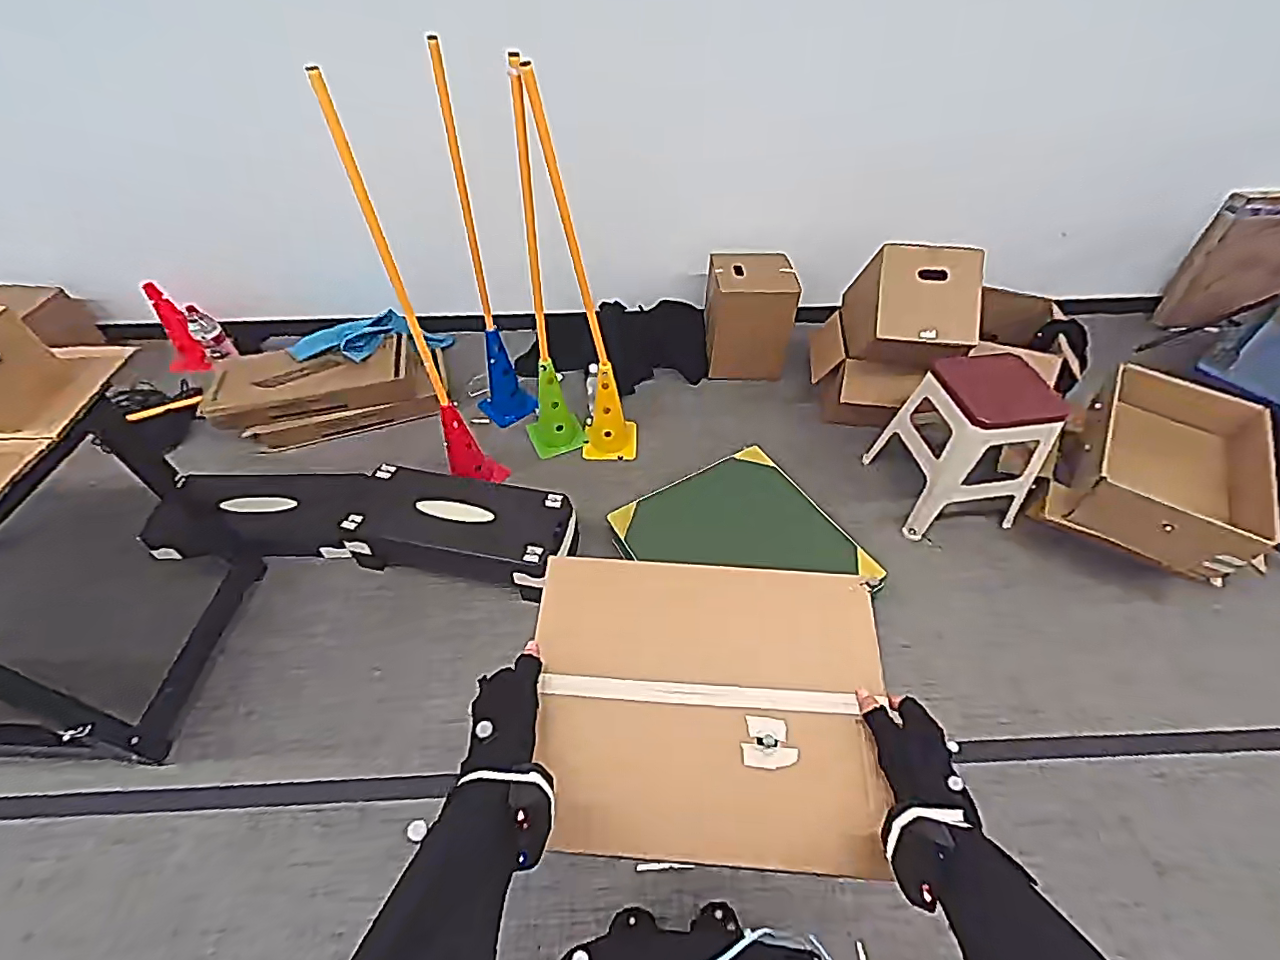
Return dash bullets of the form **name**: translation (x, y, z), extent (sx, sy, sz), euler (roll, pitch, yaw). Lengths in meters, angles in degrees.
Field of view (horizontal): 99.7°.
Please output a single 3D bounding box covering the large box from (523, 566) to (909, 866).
- **large box**: translation (0.080, 0.331, 0.754), extent (0.408, 0.320, 0.320), euler (3, 59, 1)
